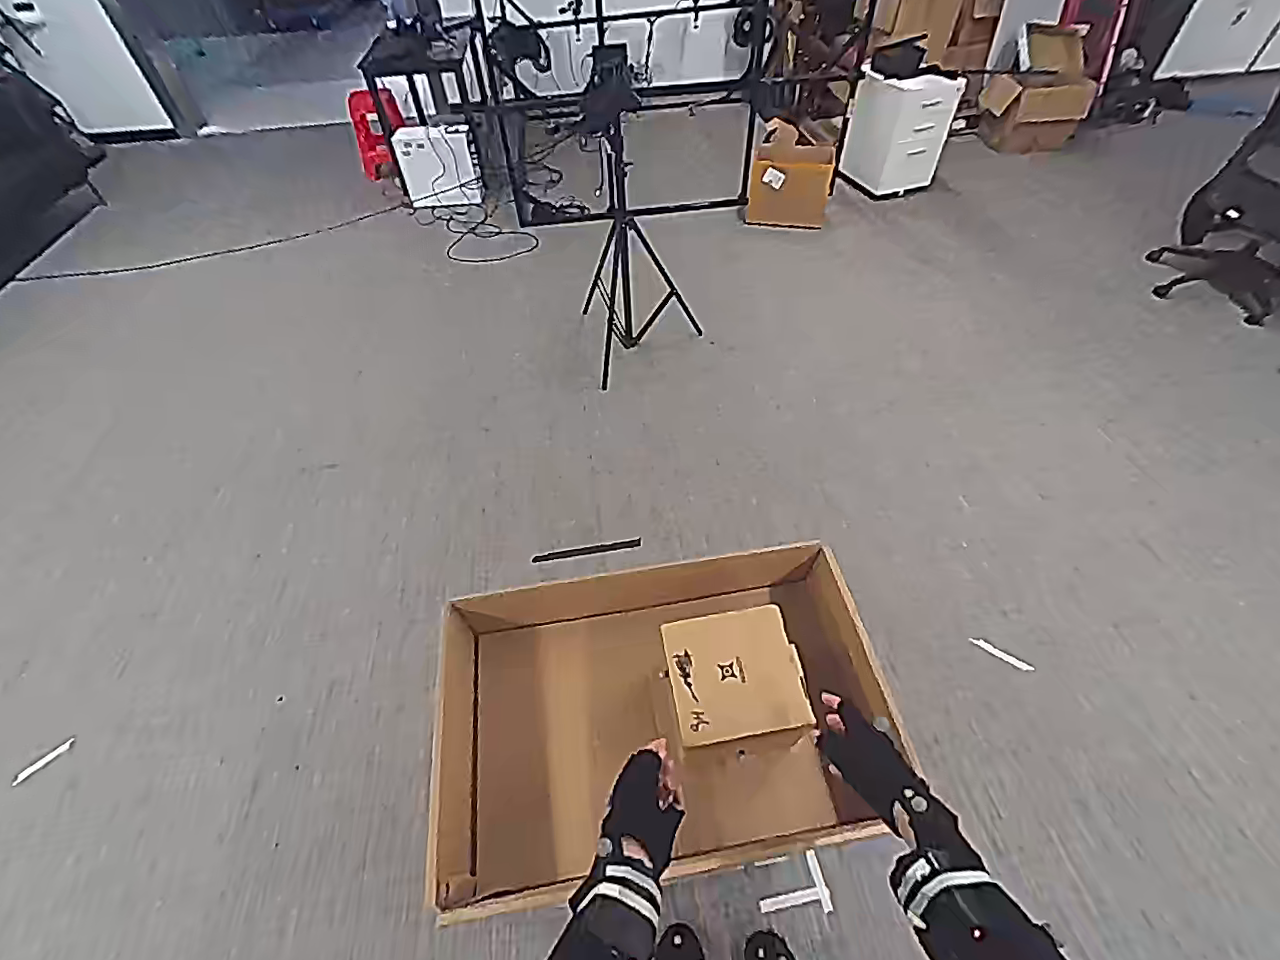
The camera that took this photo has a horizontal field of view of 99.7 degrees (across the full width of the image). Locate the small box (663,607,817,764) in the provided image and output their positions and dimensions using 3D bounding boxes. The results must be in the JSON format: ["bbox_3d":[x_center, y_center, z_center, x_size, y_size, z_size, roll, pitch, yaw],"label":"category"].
[{"bbox_3d":[0.133,0.305,0.797,0.179,0.176,0.168,-9,55,-4],"label":"small box"}]
